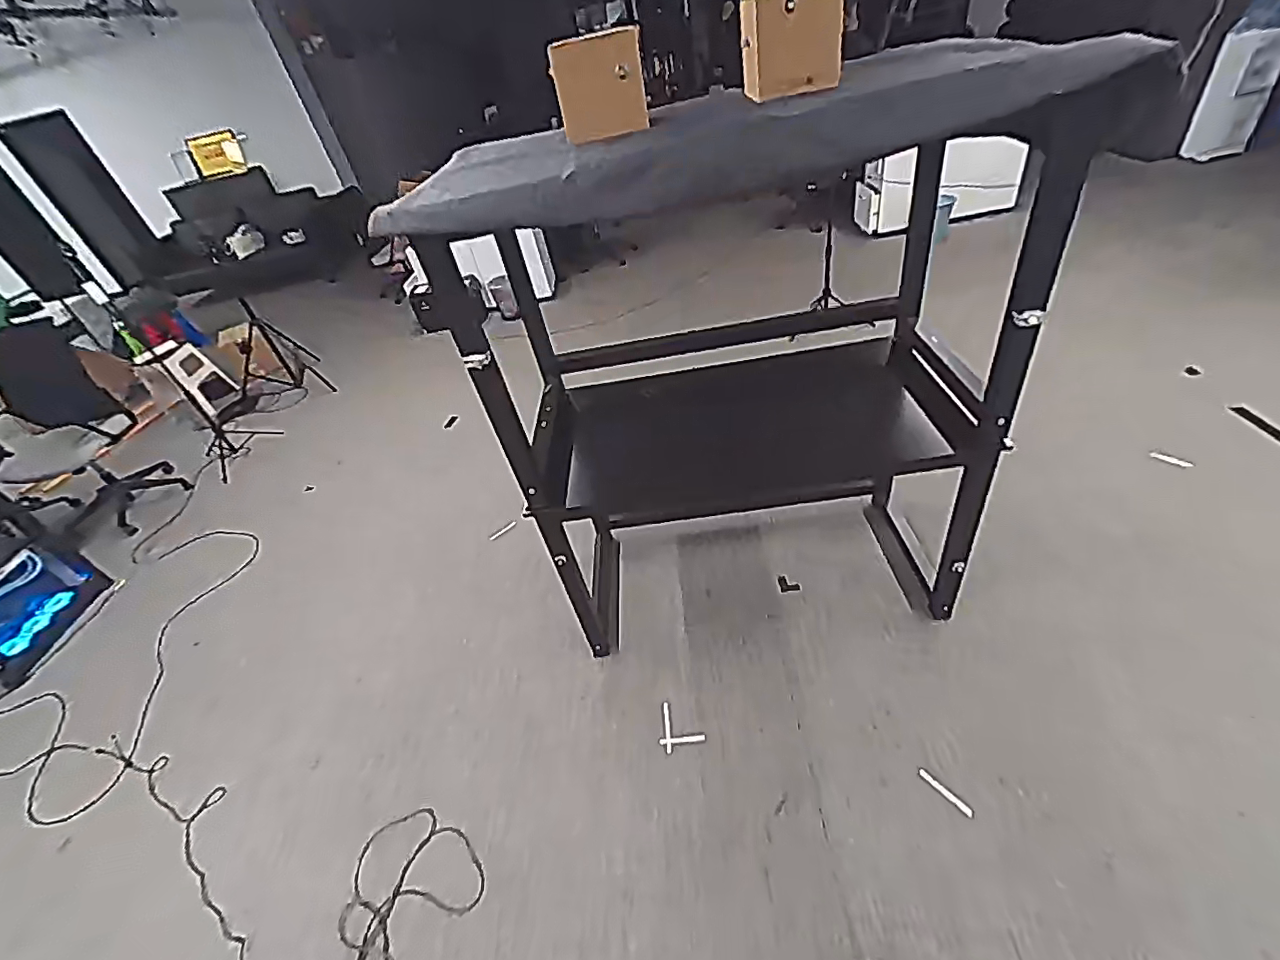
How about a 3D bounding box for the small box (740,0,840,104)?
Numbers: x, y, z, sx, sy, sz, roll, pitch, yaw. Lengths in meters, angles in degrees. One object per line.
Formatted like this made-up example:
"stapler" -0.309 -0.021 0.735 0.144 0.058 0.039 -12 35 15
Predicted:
"small box" 0.304 -0.900 1.122 0.168 0.176 0.179 -9 39 6
